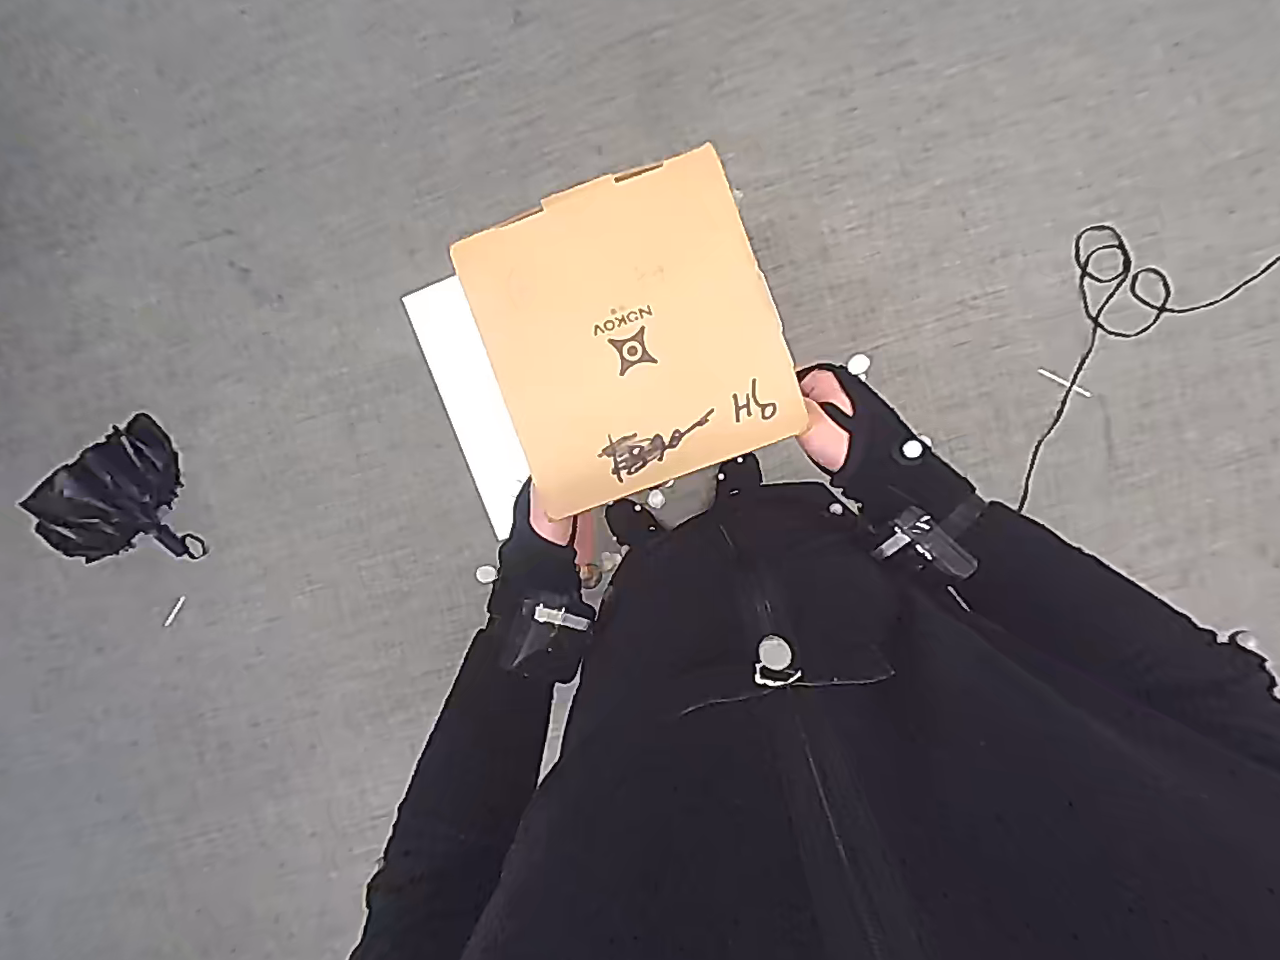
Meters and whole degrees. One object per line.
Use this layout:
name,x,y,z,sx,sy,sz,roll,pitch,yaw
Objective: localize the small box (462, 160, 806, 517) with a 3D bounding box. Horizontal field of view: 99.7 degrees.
small box,-0.002,-0.083,0.400,0.168,0.176,0.179,-19,90,4
